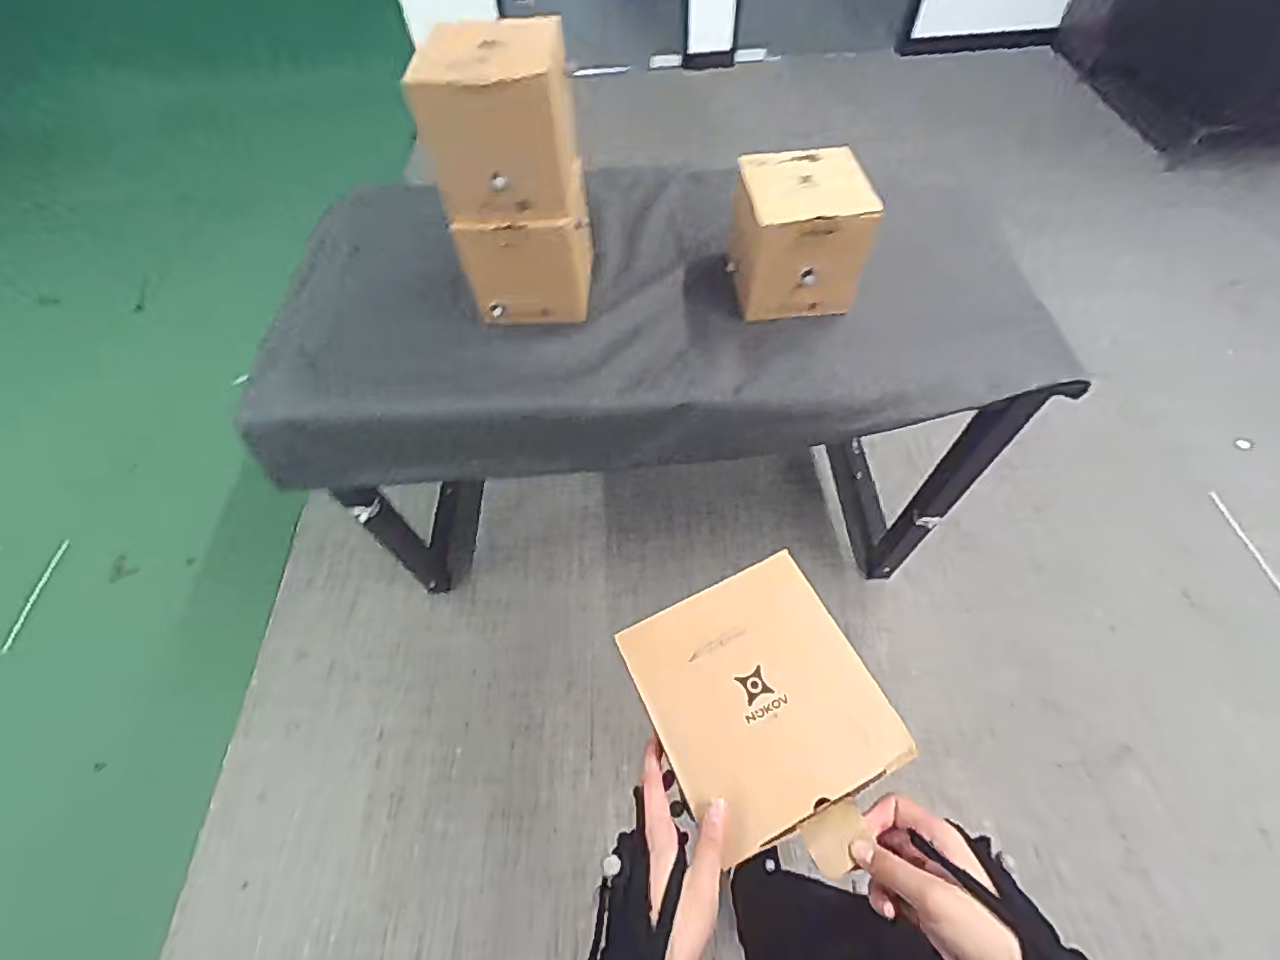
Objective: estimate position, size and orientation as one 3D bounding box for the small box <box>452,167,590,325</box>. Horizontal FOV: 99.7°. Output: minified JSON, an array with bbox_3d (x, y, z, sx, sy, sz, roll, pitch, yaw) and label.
[{"bbox_3d":[-0.174,-0.362,0.852,0.168,0.176,0.179,0,56,2],"label":"small box"}]

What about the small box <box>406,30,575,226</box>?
[{"bbox_3d":[-0.182,-0.465,0.722,0.168,0.176,0.179,-2,57,2],"label":"small box"}]

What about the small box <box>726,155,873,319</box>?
[{"bbox_3d":[0.232,-0.365,0.835,0.168,0.176,0.179,-5,57,-1],"label":"small box"}]
